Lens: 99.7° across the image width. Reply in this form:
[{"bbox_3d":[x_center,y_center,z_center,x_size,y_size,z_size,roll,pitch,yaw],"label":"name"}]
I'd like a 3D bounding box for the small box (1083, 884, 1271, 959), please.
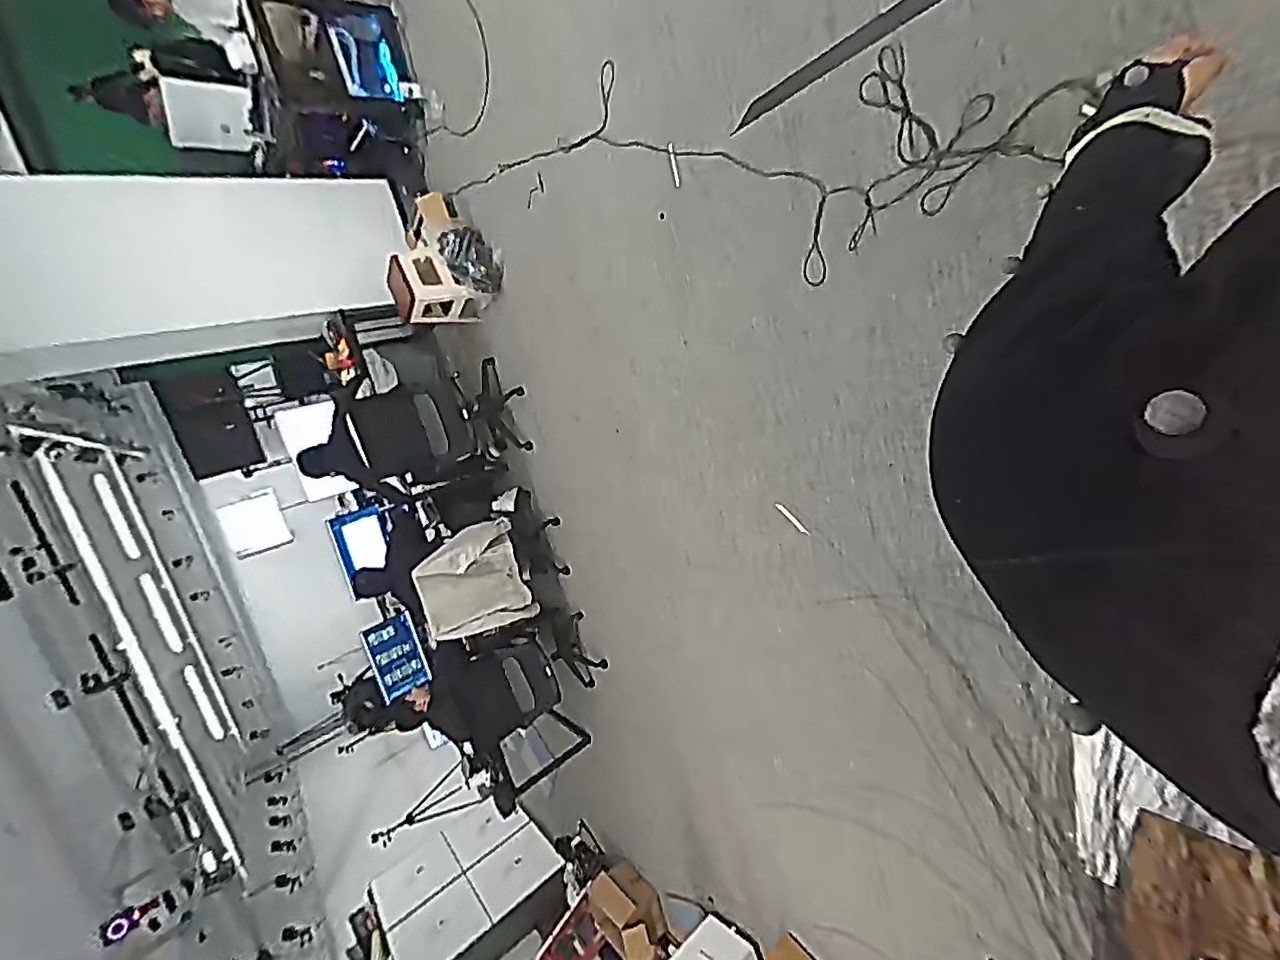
[{"bbox_3d":[0.668,0.671,0.670,0.168,0.176,0.179,7,113,51],"label":"small box"}]
